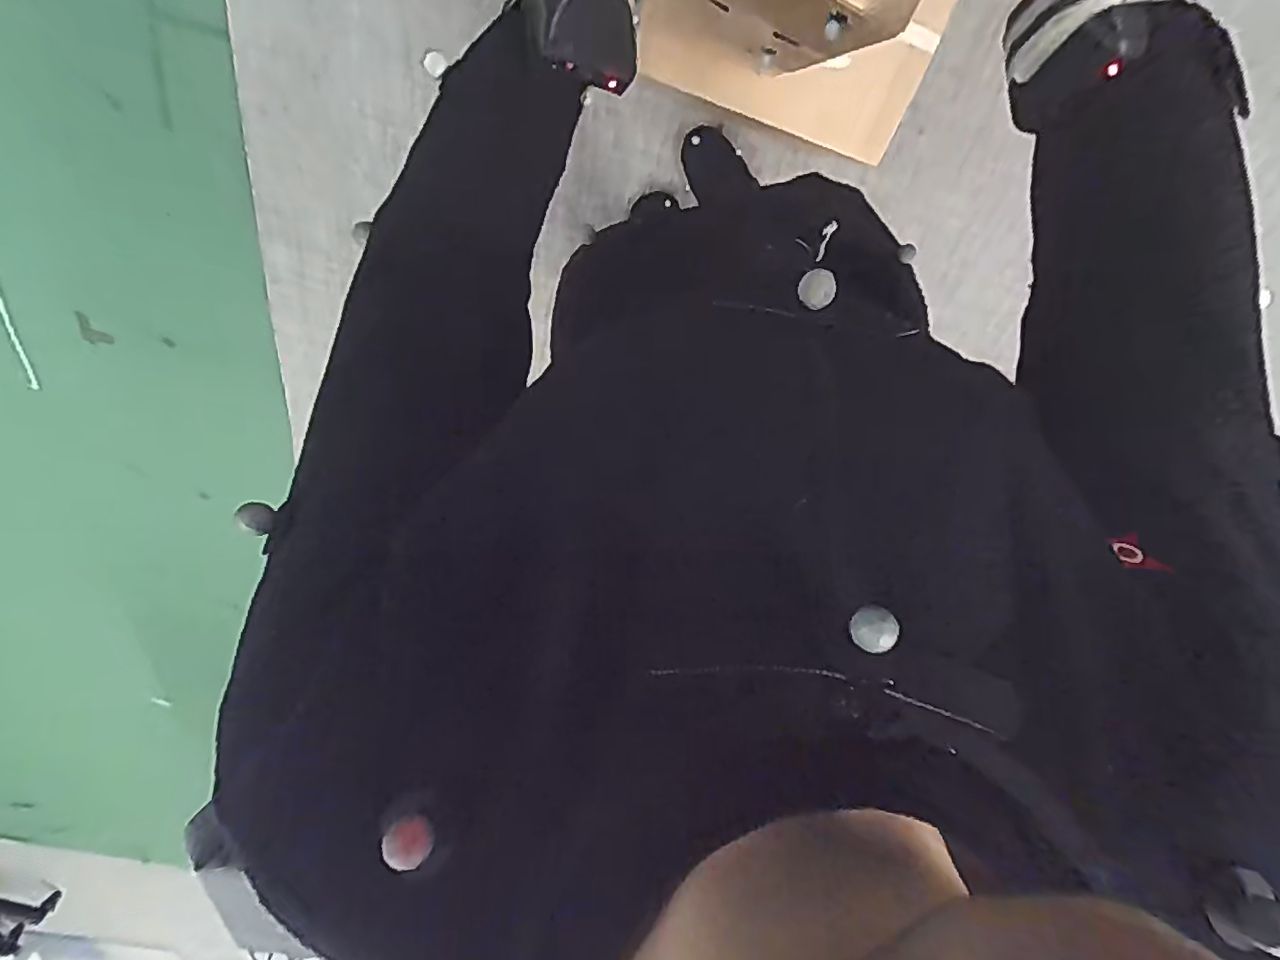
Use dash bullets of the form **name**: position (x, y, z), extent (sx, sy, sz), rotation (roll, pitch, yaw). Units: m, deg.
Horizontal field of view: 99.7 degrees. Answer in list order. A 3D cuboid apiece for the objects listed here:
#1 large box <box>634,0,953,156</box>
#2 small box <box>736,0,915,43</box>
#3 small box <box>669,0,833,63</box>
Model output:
- **large box**: position (0.221, -0.747, 0.842), extent (0.408, 0.320, 0.320), rotation (15, 124, -9)
- **small box**: position (0.123, -0.435, 0.369), extent (0.179, 0.176, 0.168), rotation (18, 122, -13)
- **small box**: position (0.126, -0.525, 0.505), extent (0.168, 0.176, 0.179), rotation (17, 122, -12)
